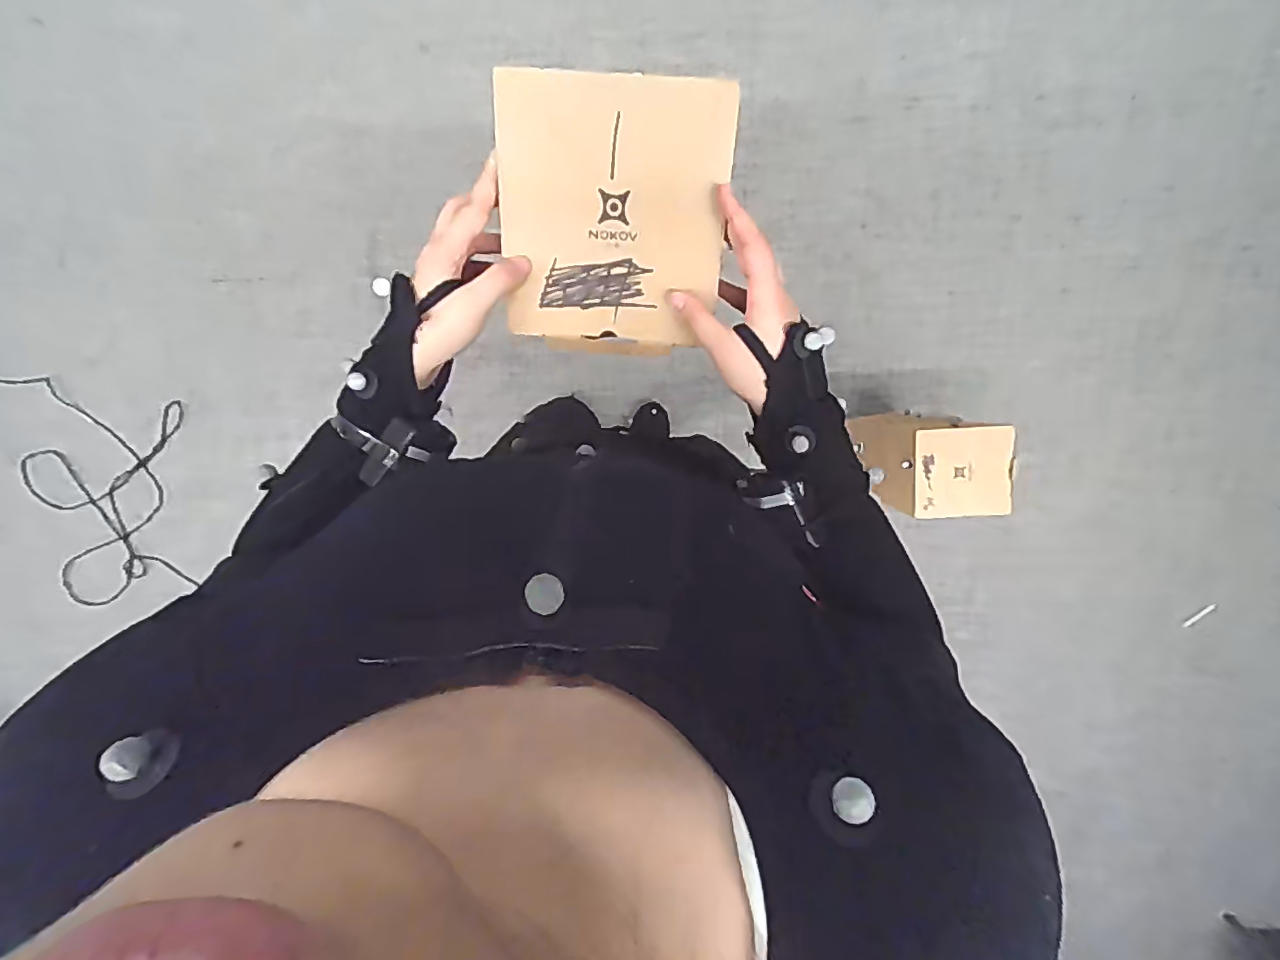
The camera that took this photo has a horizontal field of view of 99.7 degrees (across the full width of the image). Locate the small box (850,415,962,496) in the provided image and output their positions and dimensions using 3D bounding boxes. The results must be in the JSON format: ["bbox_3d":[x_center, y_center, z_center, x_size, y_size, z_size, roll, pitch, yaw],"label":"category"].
[{"bbox_3d":[0.593,-0.058,1.221,0.179,0.176,0.168,-3,99,3],"label":"small box"}]

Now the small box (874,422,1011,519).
[{"bbox_3d":[0.583,-0.024,1.060,0.179,0.176,0.168,-3,99,1],"label":"small box"}]

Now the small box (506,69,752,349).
[{"bbox_3d":[-0.008,-0.225,0.462,0.168,0.176,0.179,4,119,1],"label":"small box"}]
